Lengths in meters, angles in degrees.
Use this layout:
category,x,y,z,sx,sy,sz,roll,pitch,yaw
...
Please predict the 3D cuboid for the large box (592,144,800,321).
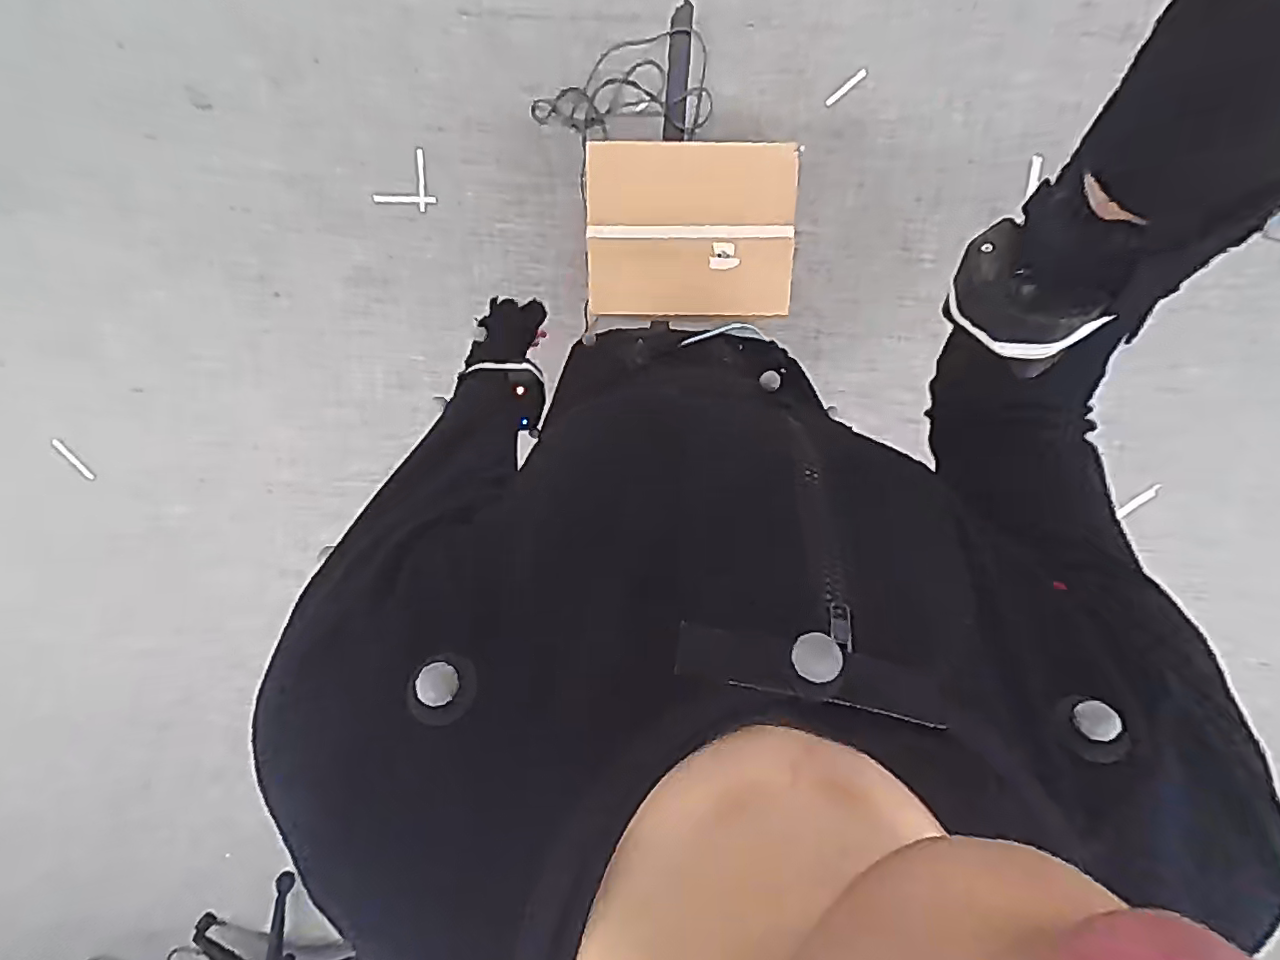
category,x,y,z,sx,sy,sz,roll,pitch,yaw
large box,0.105,-0.523,1.209,0.408,0.320,0.320,1,105,-1
